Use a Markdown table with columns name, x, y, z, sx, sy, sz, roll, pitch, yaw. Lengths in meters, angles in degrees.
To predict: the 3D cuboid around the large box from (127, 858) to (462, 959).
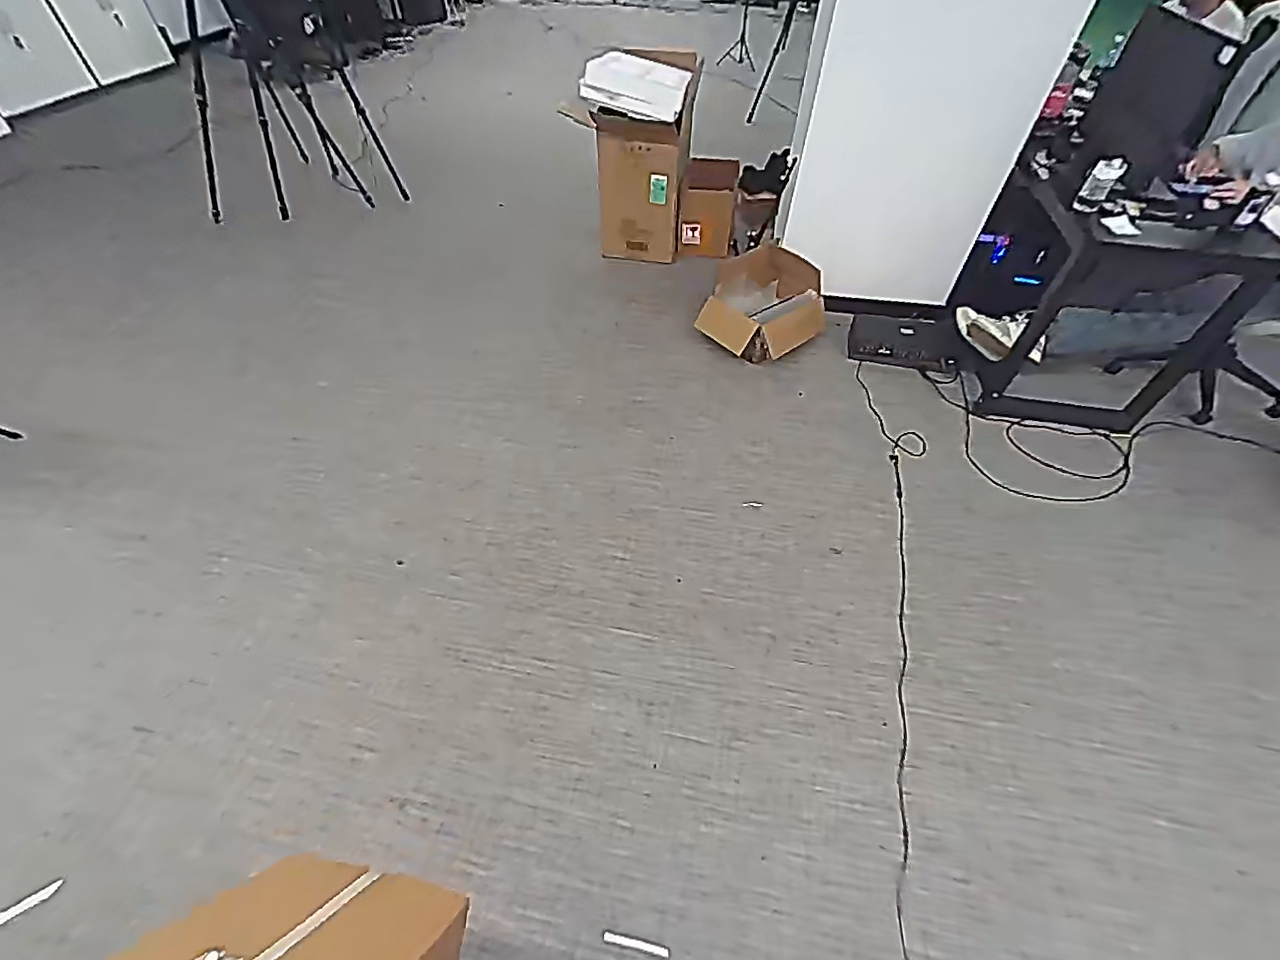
| name | x | y | z | sx | sy | sz | roll | pitch | yaw |
| --- | --- | --- | --- | --- | --- | --- | --- | --- | --- |
| large box | -0.468 | 0.740 | 0.643 | 0.320 | 0.408 | 0.320 | 6 | 78 | 9 |
